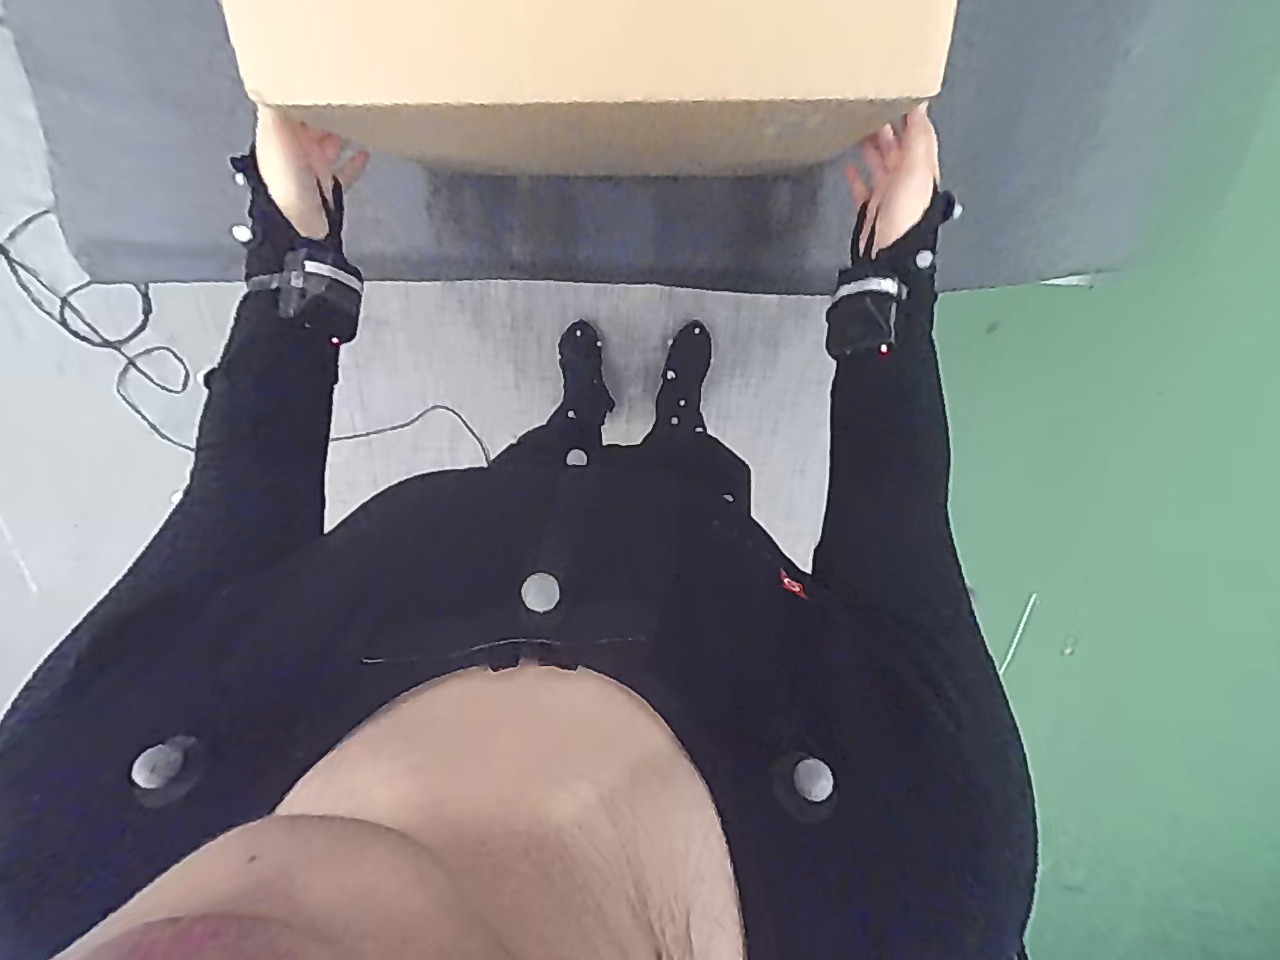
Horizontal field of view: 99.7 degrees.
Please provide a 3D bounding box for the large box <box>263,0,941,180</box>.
[{"bbox_3d":[-0.023,-0.430,0.415,0.408,0.320,0.320,0,113,1],"label":"large box"}]
